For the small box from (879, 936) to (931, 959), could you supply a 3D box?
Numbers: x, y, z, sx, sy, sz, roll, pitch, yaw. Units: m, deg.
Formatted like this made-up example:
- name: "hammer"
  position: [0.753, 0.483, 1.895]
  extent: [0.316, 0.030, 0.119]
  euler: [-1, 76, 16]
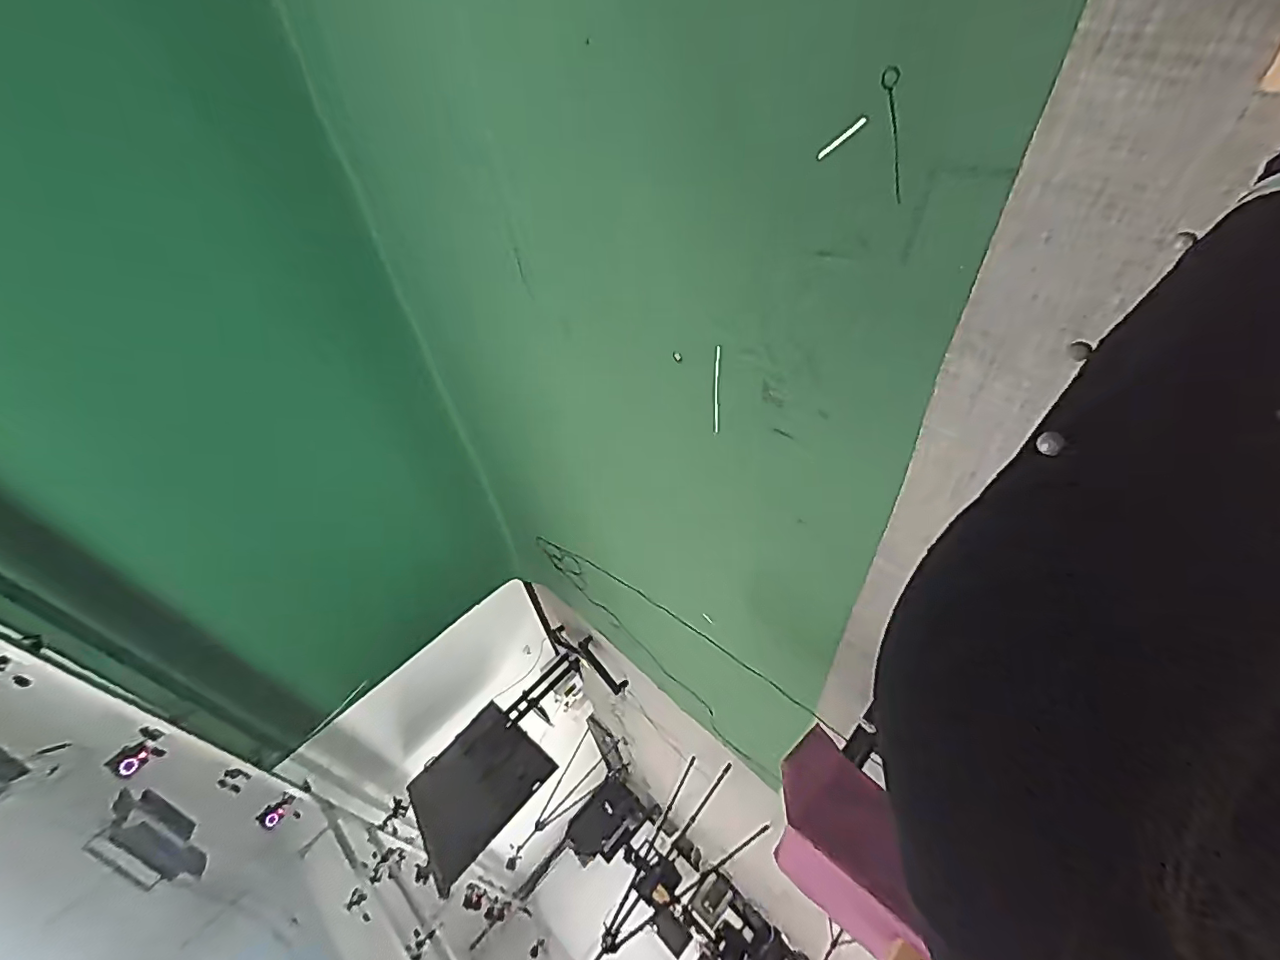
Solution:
- name: "small box"
  position: [0.730, 1.380, 1.457]
  extent: [0.168, 0.176, 0.179]
  euler: [31, 147, 33]
